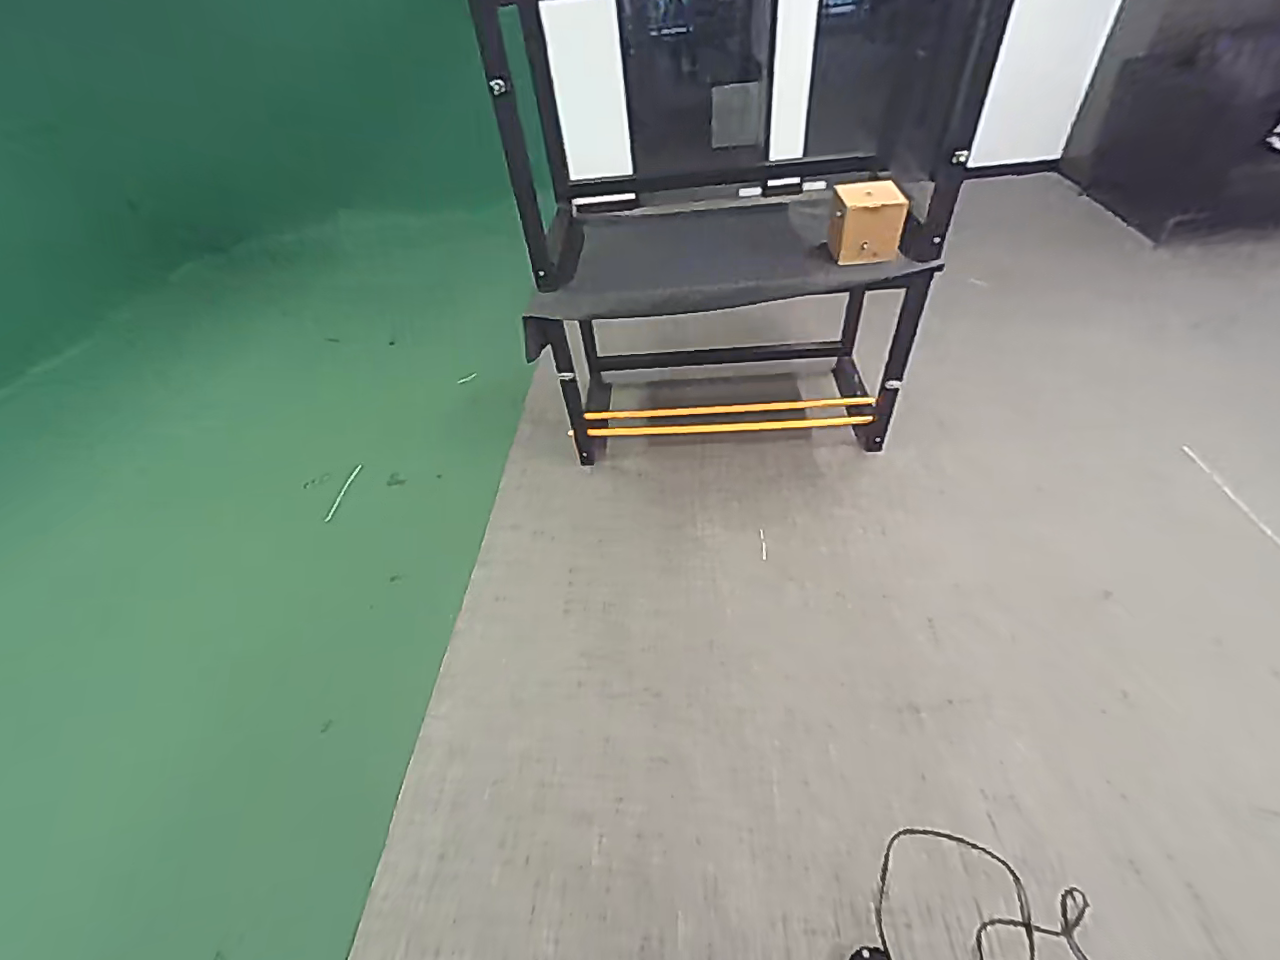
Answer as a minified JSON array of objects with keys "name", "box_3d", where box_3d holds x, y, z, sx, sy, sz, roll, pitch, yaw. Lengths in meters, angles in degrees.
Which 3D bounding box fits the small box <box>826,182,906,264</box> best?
[{"name":"small box","box_3d":[0.660,-0.761,1.602,0.168,0.176,0.179,-3,45,6]}]
